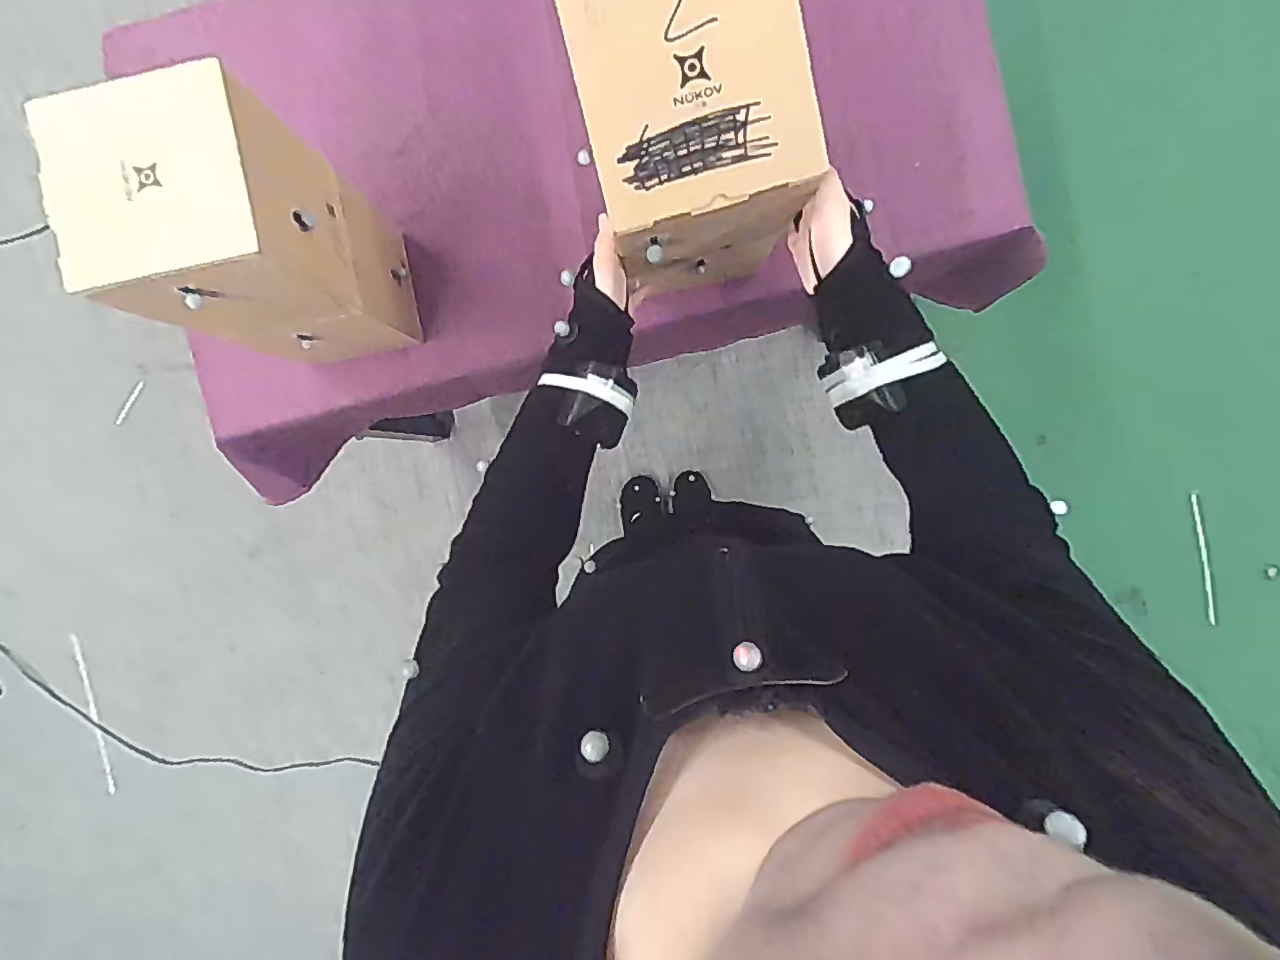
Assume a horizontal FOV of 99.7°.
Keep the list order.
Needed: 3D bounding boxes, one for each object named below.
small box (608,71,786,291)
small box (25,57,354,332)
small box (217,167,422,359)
[{"bbox_3d":[0.066,-0.355,0.677,0.179,0.176,0.168,-11,92,3],"label":"small box"},{"bbox_3d":[-0.412,-0.257,0.532,0.179,0.176,0.168,-11,92,3],"label":"small box"},{"bbox_3d":[-0.411,-0.262,0.695,0.179,0.176,0.168,-11,92,2],"label":"small box"}]
